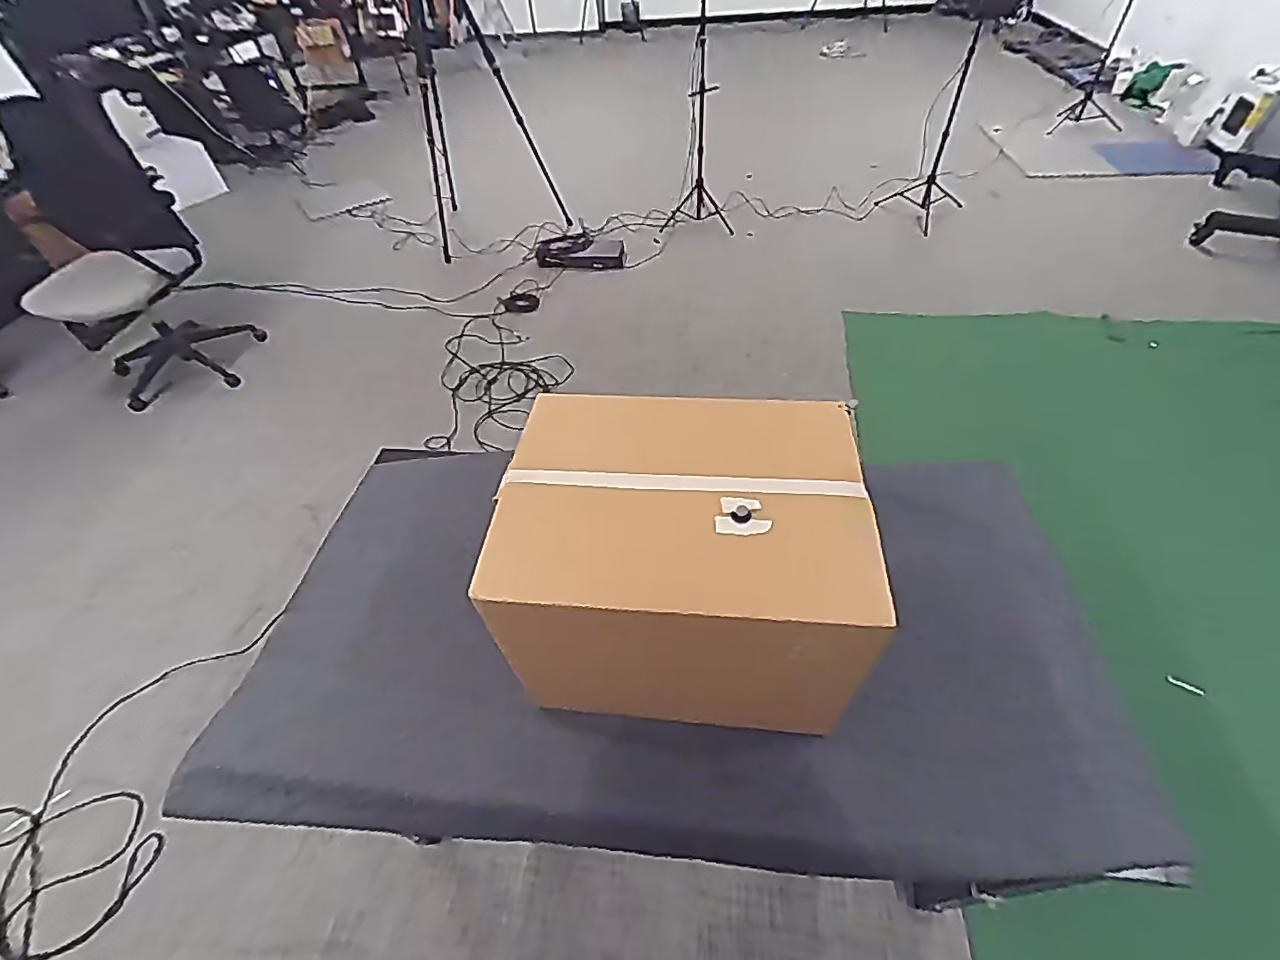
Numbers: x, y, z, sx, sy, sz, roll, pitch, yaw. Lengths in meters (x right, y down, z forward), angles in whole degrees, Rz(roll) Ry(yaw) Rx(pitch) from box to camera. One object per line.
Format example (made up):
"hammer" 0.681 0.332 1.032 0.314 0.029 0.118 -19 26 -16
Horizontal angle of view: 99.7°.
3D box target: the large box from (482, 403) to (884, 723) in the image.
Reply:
"large box" 0.053 0.112 0.734 0.408 0.320 0.320 2 49 6
